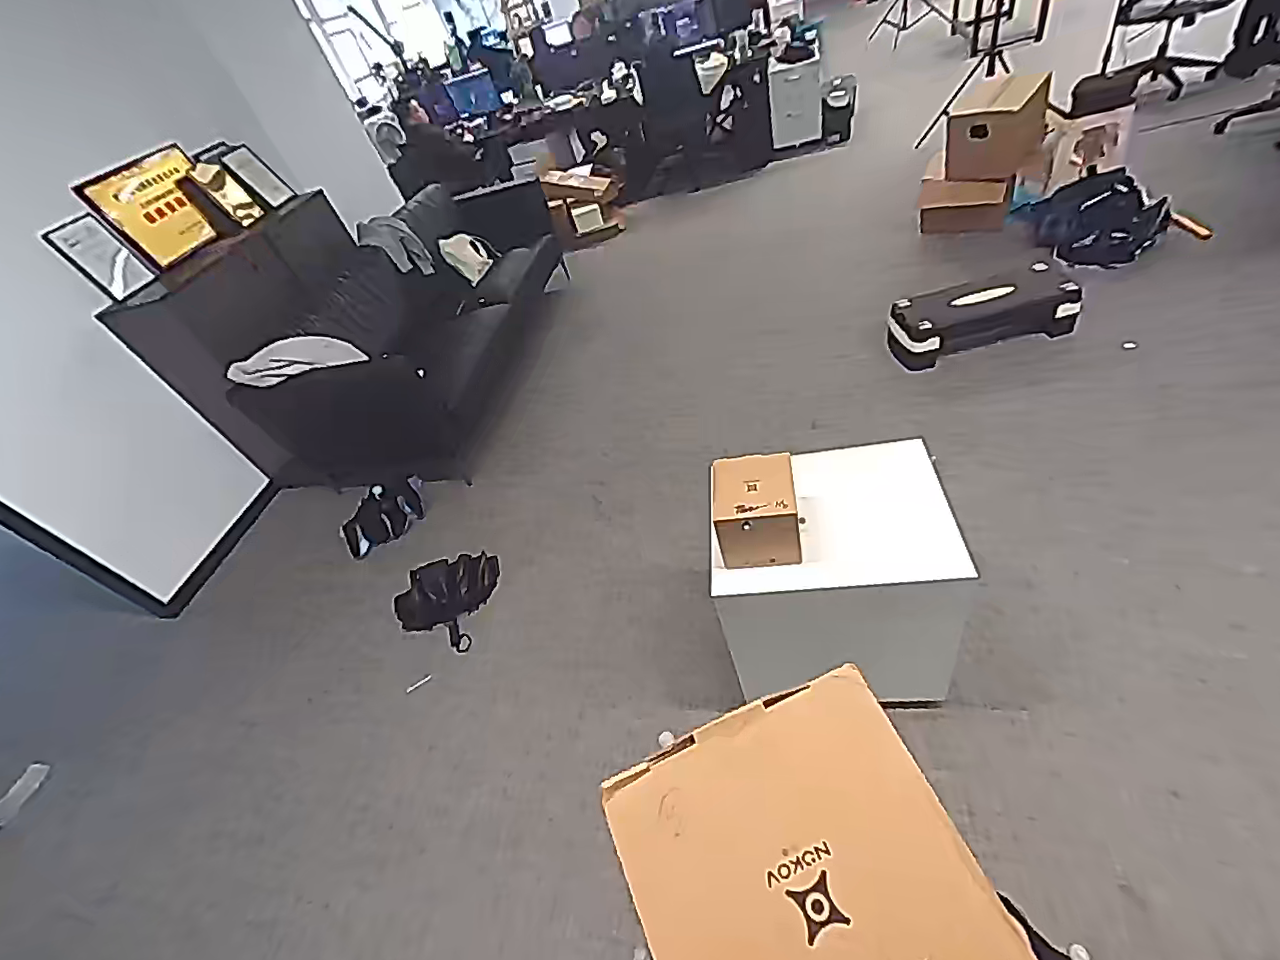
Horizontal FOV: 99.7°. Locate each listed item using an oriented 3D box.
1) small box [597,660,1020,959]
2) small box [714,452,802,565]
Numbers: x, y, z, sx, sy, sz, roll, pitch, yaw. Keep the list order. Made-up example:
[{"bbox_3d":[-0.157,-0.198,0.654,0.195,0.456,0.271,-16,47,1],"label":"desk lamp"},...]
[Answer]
[{"bbox_3d":[0.083,0.242,0.342,0.168,0.176,0.179,-21,62,-8],"label":"small box"},{"bbox_3d":[0.255,0.063,1.162,0.168,0.176,0.179,-6,44,16],"label":"small box"}]
